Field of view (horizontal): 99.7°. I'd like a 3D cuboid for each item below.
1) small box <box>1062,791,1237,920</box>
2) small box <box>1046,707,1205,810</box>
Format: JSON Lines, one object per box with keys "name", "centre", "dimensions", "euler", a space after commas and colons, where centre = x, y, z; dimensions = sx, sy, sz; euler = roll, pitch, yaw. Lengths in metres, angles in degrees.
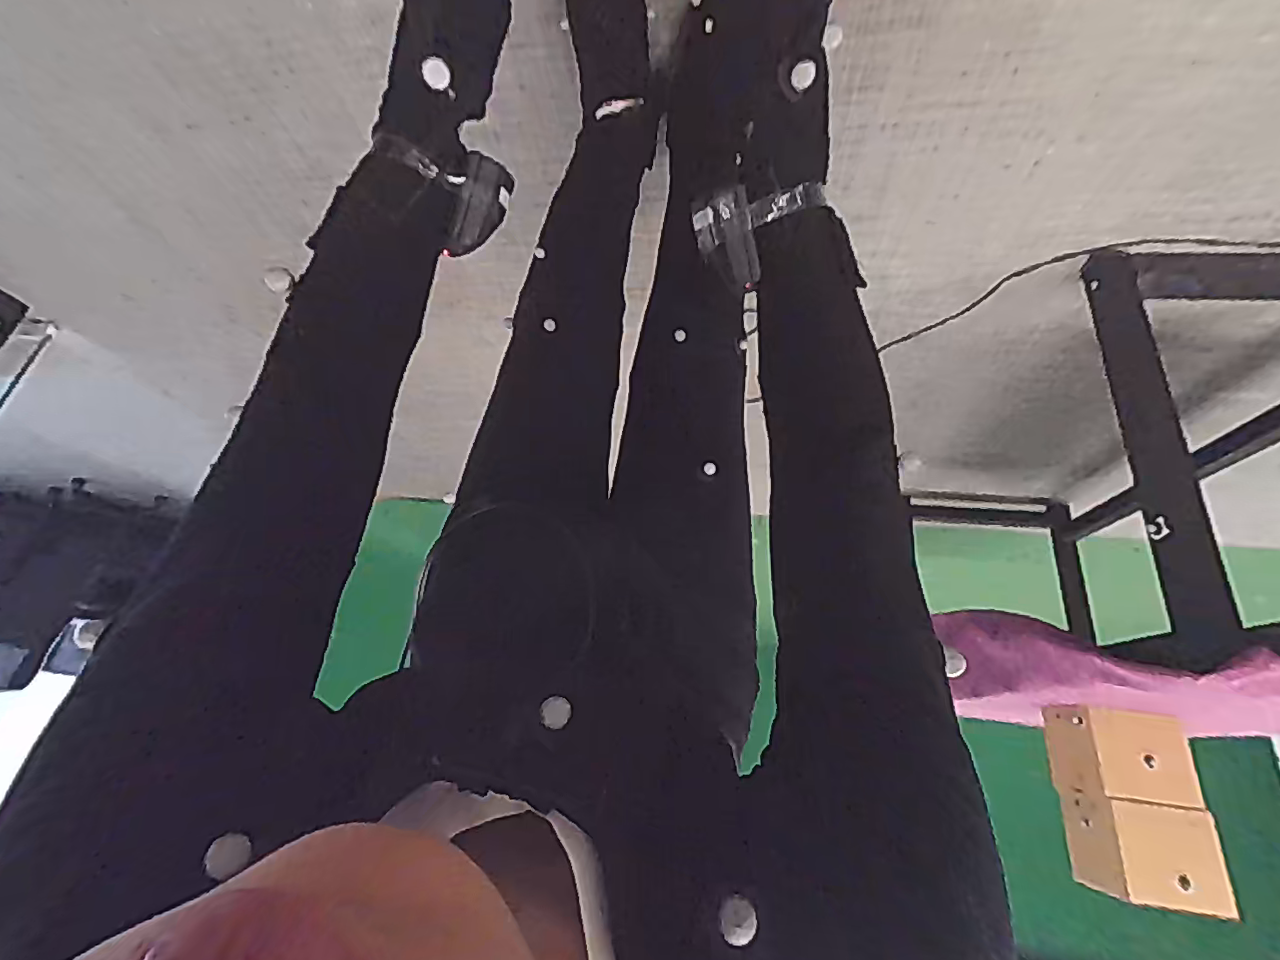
{"name": "small box", "centre": [0.981, 0.721, 1.061], "dimensions": [0.179, 0.176, 0.168], "euler": [4, 156, 8]}
{"name": "small box", "centre": [0.994, 0.572, 1.130], "dimensions": [0.179, 0.176, 0.168], "euler": [4, 156, 8]}
